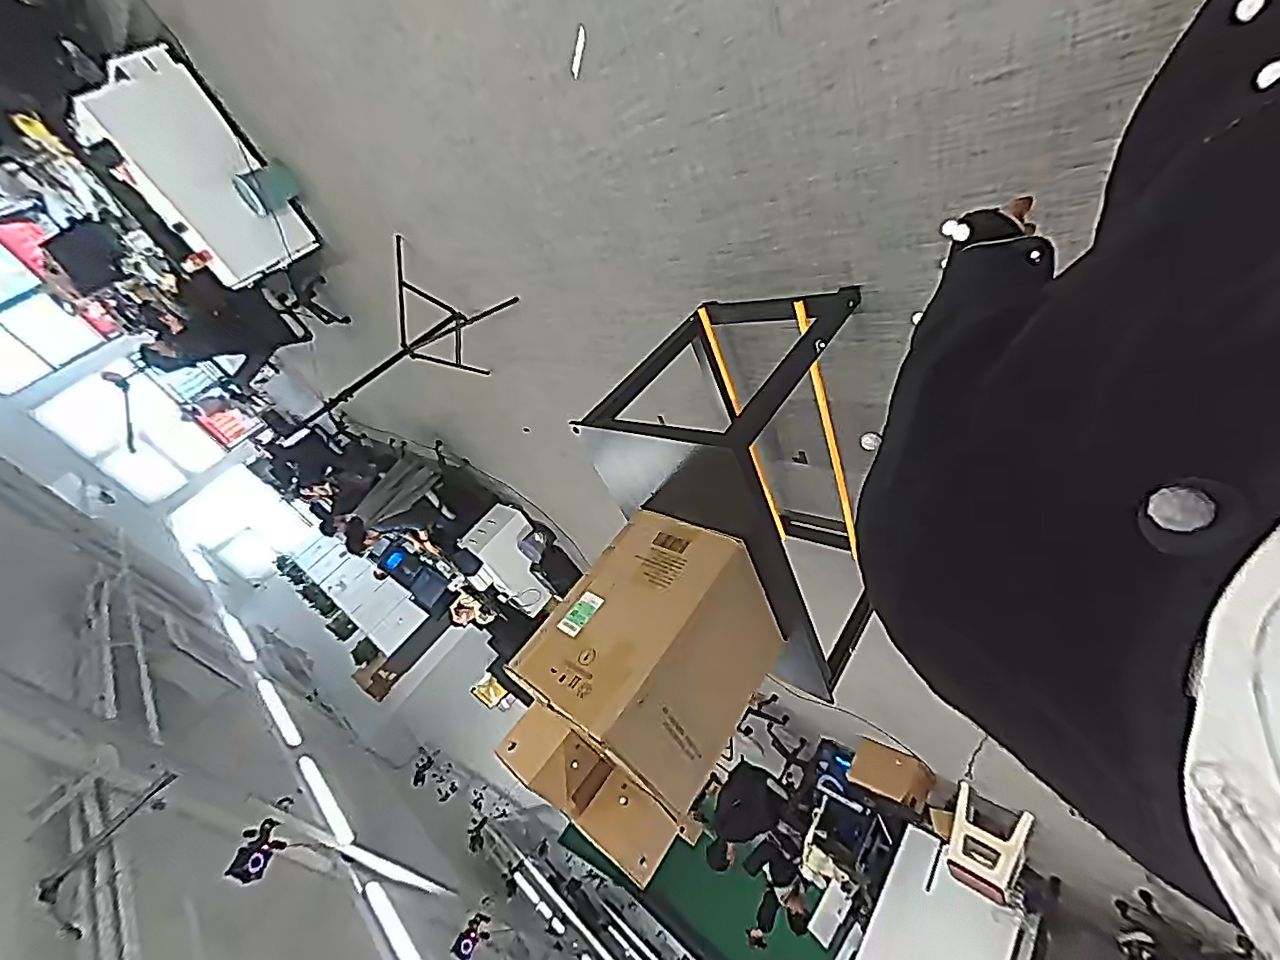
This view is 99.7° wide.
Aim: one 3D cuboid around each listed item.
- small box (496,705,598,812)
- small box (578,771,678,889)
[{"bbox_3d":[-0.246,0.740,1.458,0.179,0.176,0.168,13,144,46],"label":"small box"},{"bbox_3d":[-0.026,0.919,1.433,0.168,0.176,0.179,10,137,45],"label":"small box"}]
